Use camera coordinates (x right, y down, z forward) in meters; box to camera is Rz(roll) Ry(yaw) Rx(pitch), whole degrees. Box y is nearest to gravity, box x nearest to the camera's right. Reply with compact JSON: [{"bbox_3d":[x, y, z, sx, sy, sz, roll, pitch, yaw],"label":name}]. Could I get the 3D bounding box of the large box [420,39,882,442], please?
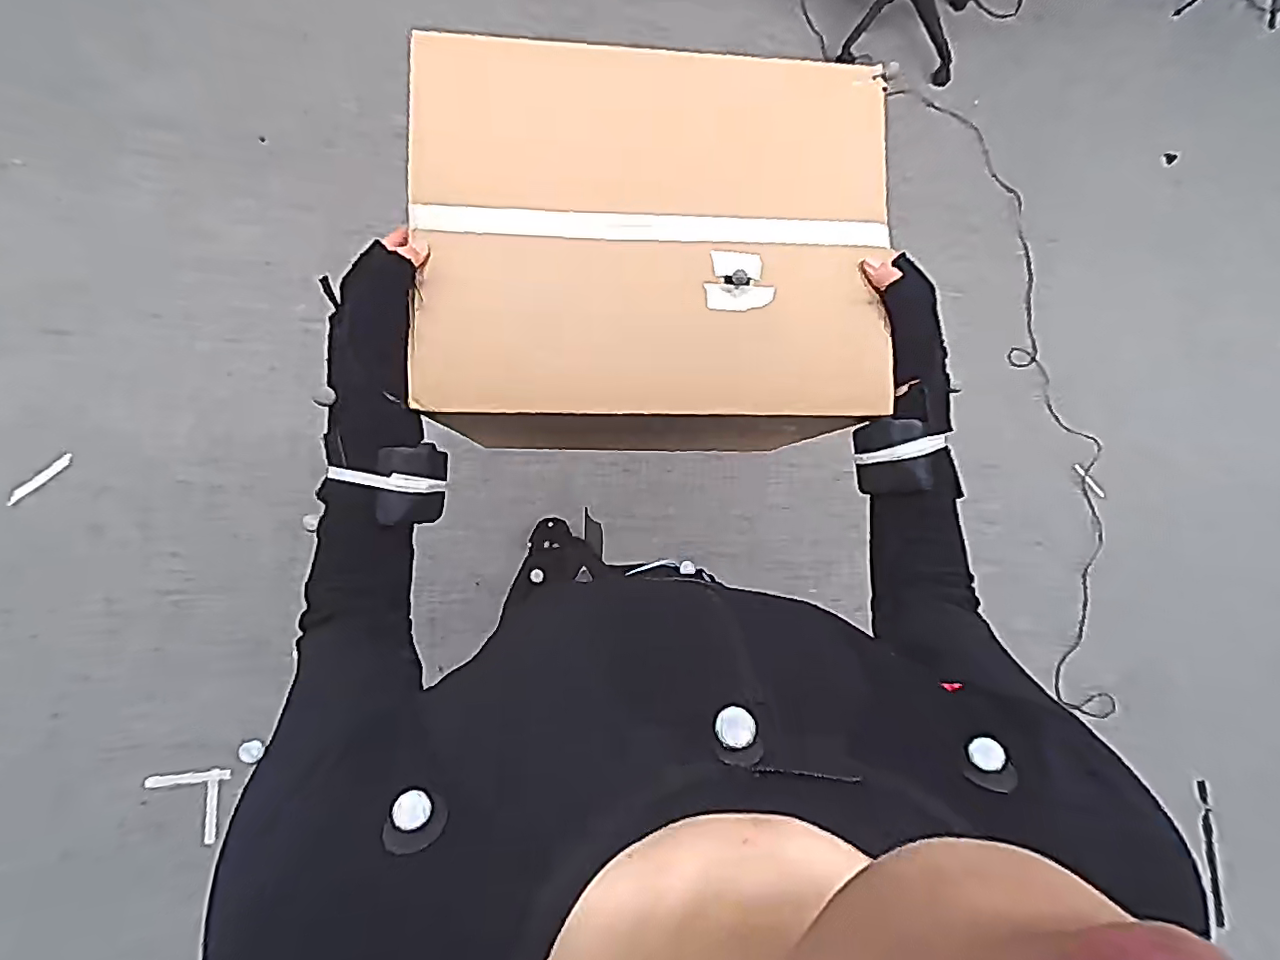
[{"bbox_3d":[-0.001,-0.214,0.613,0.408,0.320,0.320,0,89,-6],"label":"large box"}]
